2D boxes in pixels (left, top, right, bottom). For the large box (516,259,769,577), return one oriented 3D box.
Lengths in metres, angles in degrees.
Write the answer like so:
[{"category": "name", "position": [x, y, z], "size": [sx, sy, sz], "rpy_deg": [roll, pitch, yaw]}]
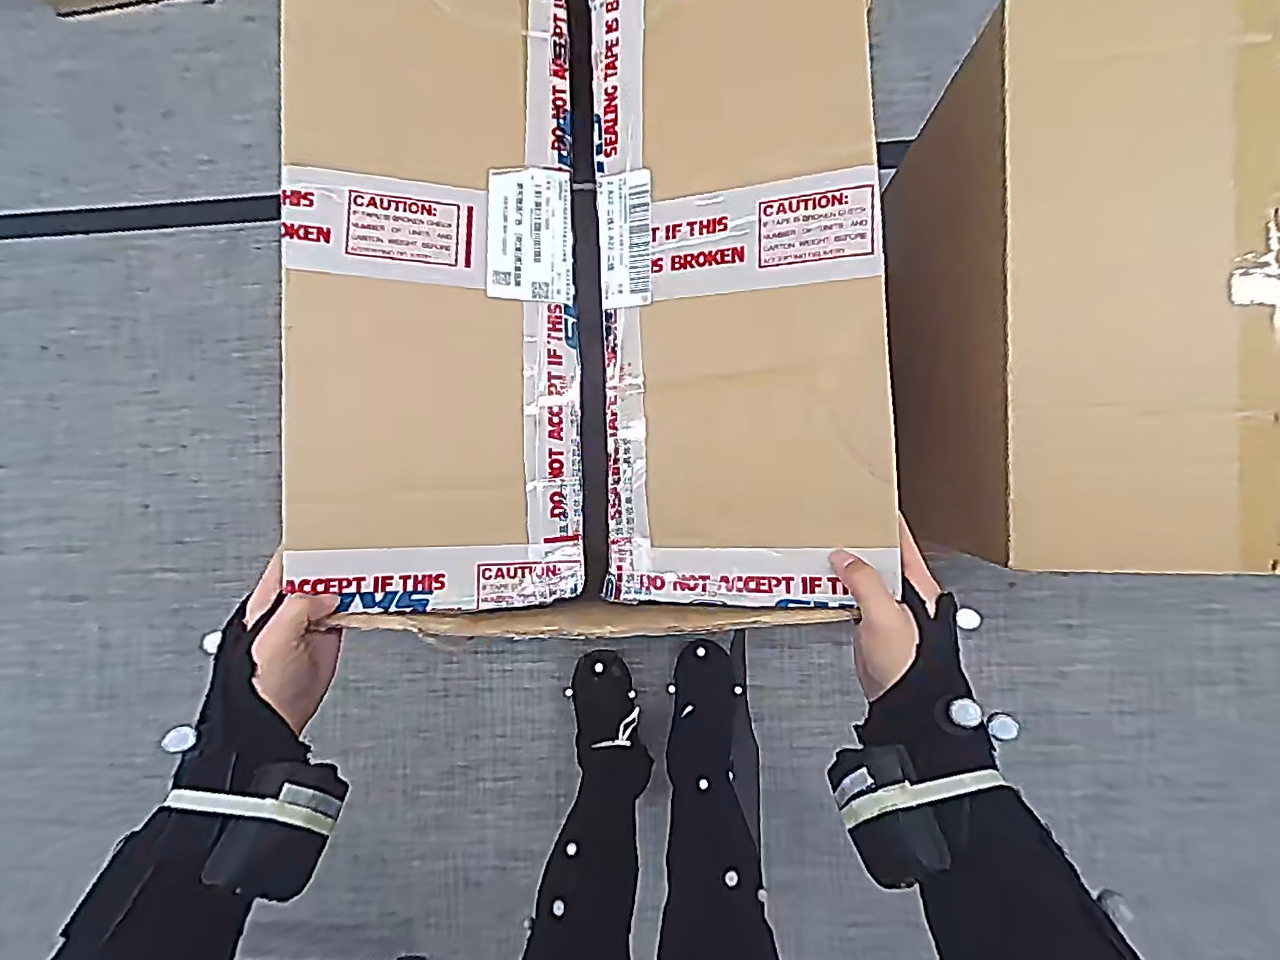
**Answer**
[{"category": "large box", "position": [0.007, -0.081, 0.853], "size": [0.320, 0.320, 0.408], "rpy_deg": [-3, 90, 3]}]
